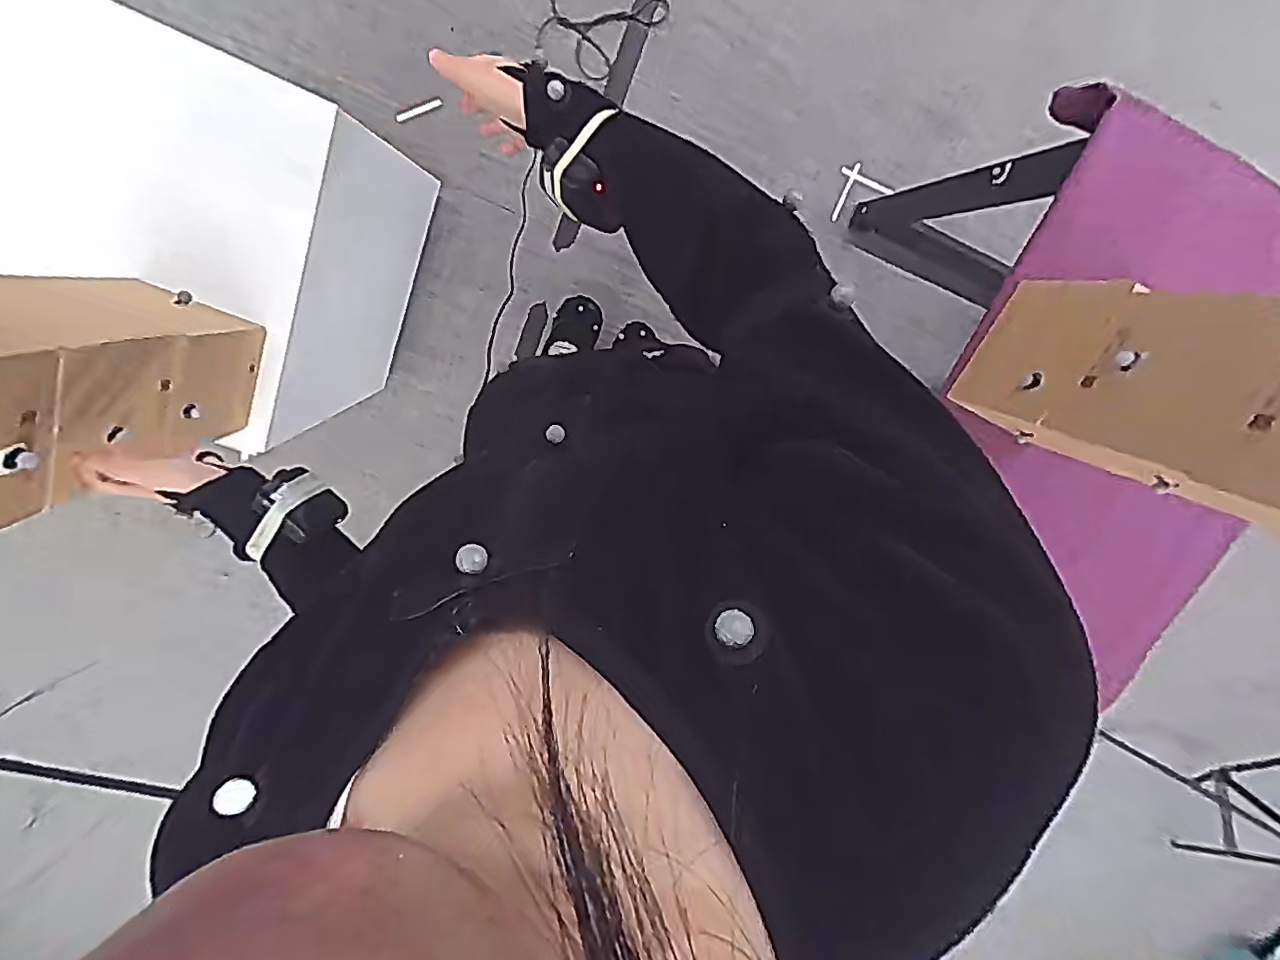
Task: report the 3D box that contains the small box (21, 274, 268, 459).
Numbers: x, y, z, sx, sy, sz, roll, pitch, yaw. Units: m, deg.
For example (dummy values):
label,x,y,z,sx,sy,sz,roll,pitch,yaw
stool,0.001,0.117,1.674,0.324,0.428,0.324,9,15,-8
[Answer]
label,x,y,z,sx,sy,sz,roll,pitch,yaw
small box,-0.637,-0.150,0.705,0.179,0.176,0.168,20,106,-12

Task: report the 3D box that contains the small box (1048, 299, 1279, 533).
label,x,y,z,sx,sy,sz,roll,pitch,yaw
small box,0.576,-0.071,0.538,0.179,0.176,0.168,23,106,-12

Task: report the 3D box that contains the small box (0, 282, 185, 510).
label,x,y,z,sx,sy,sz,roll,pitch,yaw
small box,-0.619,-0.096,0.552,0.179,0.176,0.168,19,106,-12

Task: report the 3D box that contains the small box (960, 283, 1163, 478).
label,x,y,z,sx,sy,sz,roll,pitch,yaw
small box,0.553,-0.132,0.689,0.168,0.176,0.179,23,105,-14

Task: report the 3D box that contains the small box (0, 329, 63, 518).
label,x,y,z,sx,sy,sz,roll,pitch,yaw
small box,-0.604,-0.044,0.399,0.179,0.176,0.168,18,107,-12
